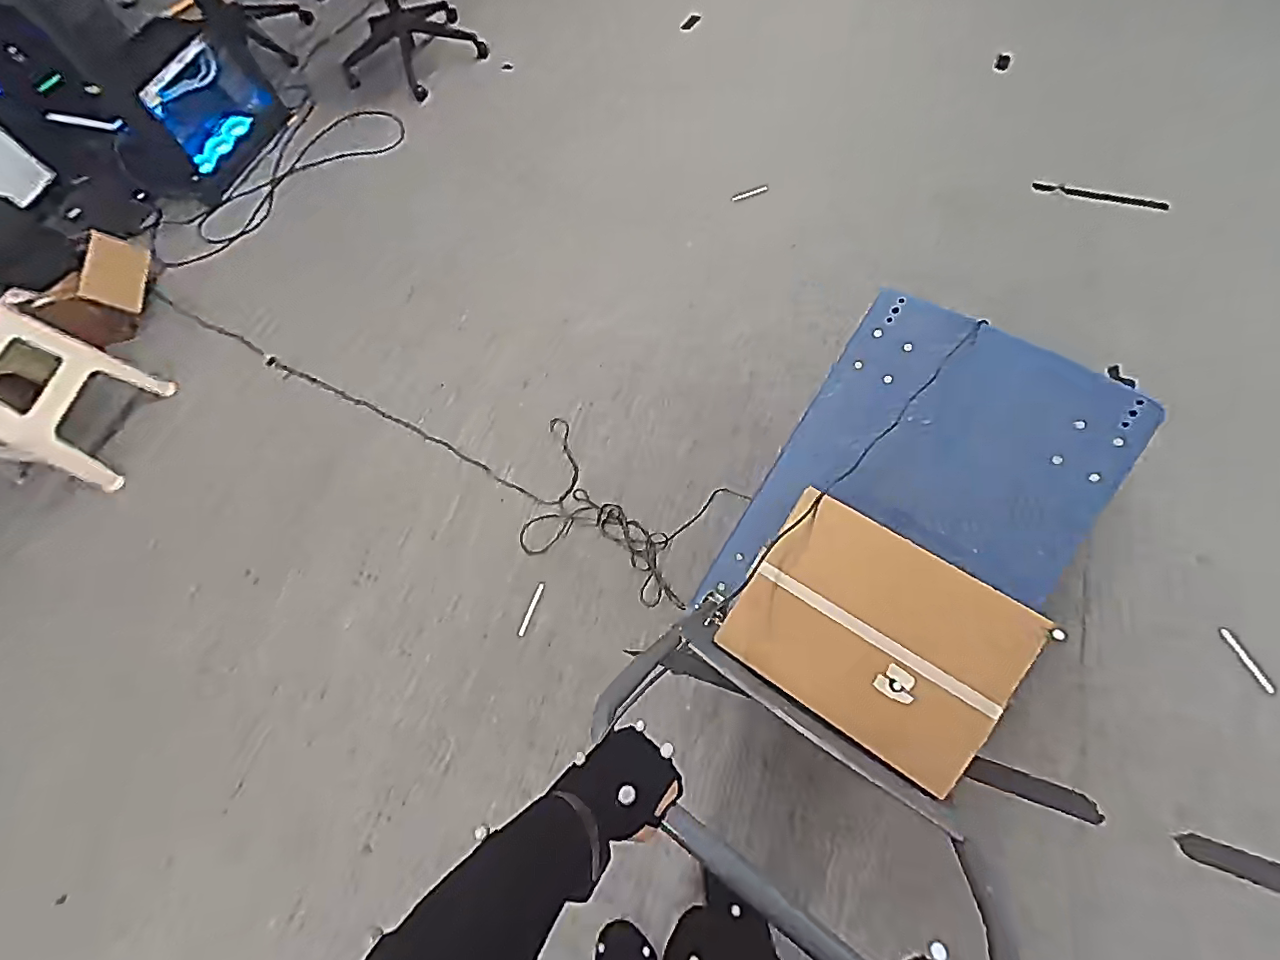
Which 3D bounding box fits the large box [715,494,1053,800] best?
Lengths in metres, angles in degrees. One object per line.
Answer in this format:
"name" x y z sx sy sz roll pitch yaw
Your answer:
"large box" 0.400 0.262 0.986 0.408 0.320 0.320 32 94 17
